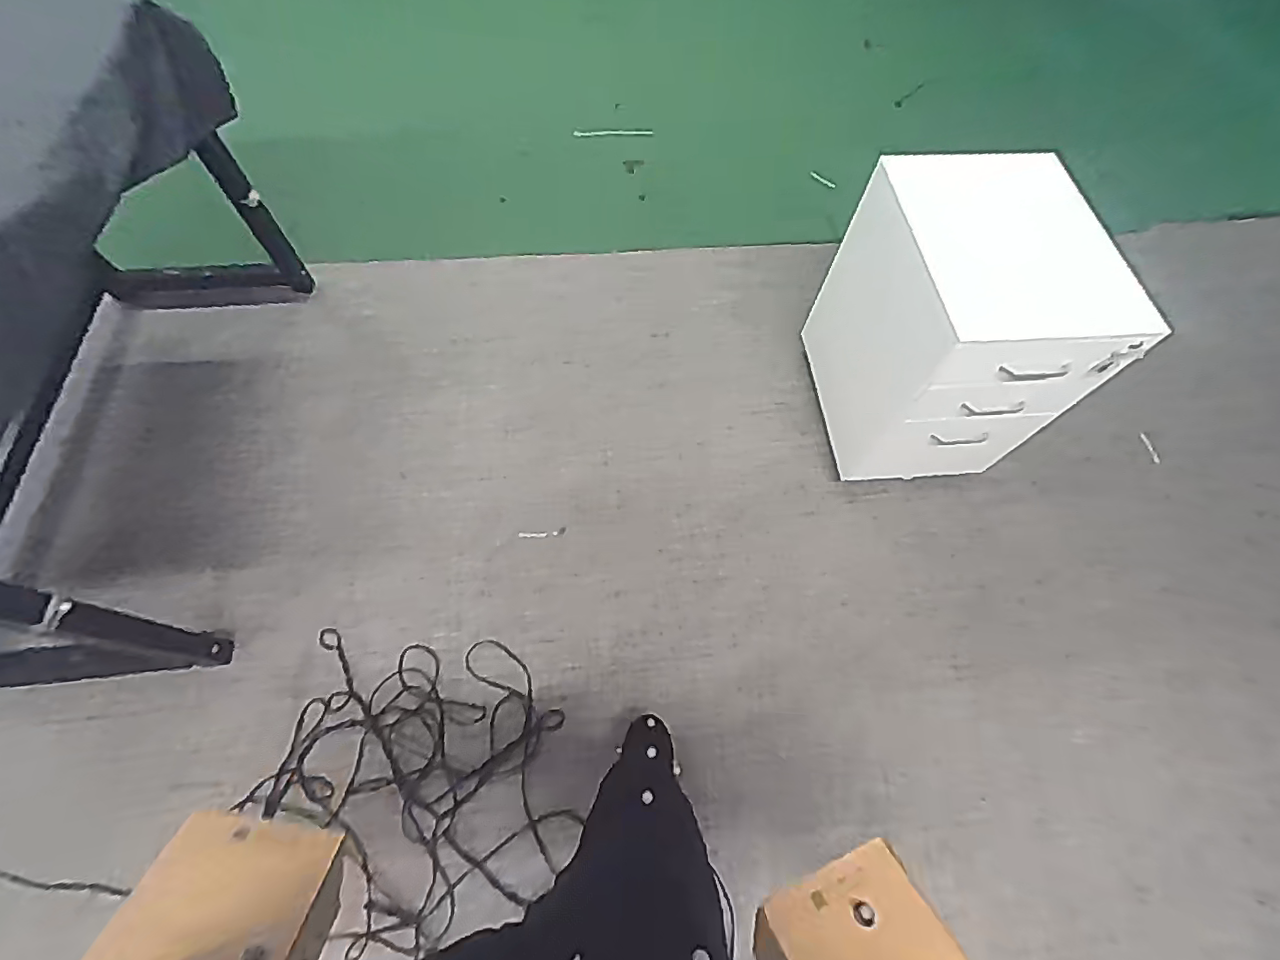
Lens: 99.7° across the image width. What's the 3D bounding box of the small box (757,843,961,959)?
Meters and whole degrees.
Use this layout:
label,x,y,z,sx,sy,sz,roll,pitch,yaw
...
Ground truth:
label,x,y,z,sx,sy,sz,roll,pitch,yaw
small box,0.243,0.547,0.595,0.168,0.179,0.176,-17,36,-17
